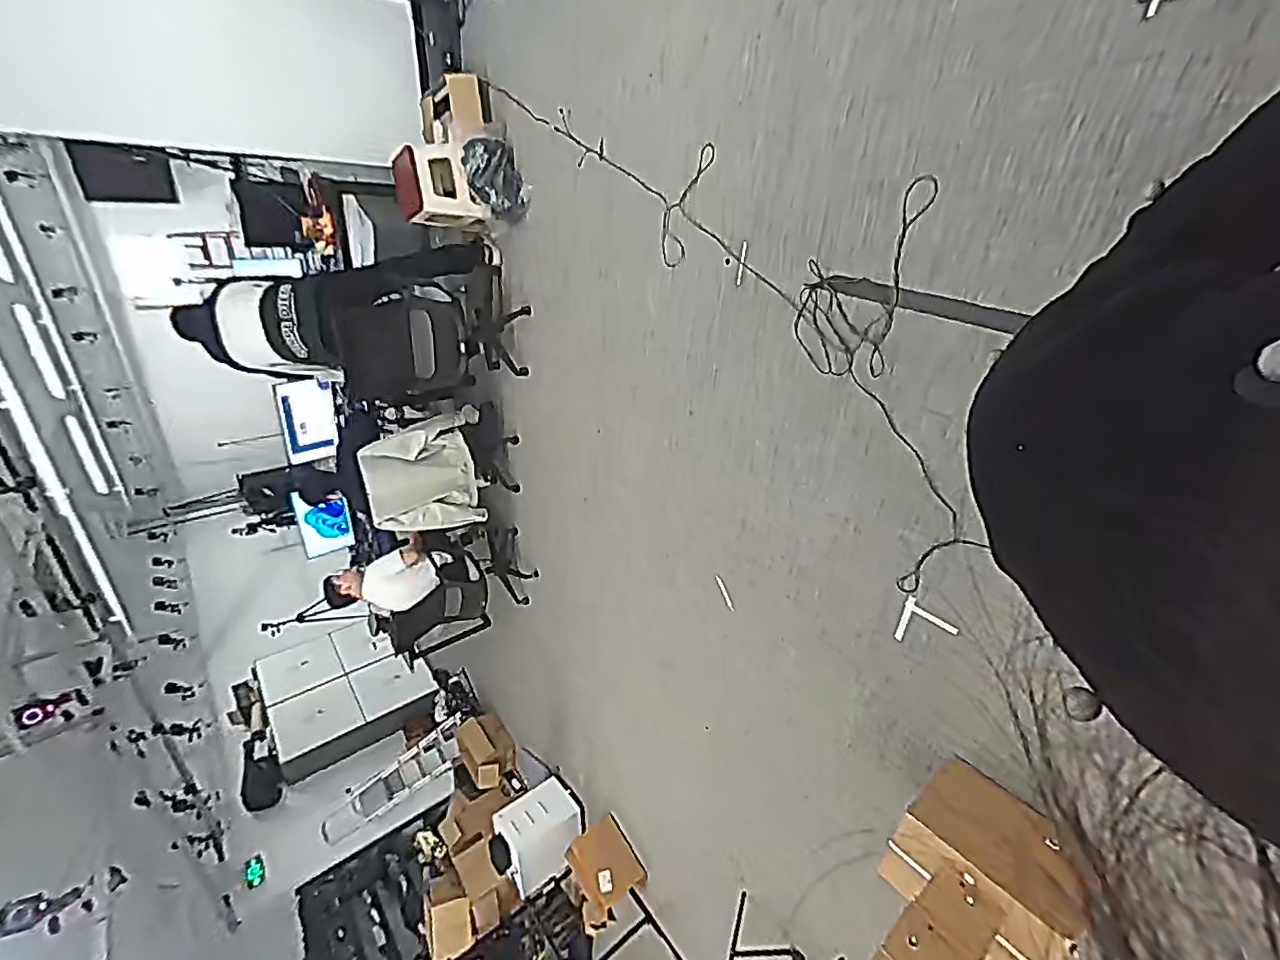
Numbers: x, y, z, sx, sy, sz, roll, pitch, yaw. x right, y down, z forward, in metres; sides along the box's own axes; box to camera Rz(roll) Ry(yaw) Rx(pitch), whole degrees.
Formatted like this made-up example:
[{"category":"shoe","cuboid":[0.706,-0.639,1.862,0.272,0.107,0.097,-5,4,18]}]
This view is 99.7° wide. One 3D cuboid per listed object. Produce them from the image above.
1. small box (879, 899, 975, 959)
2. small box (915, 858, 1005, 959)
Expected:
[{"category":"small box","cuboid":[0.680,1.175,1.303,0.168,0.176,0.179,30,128,44]},{"category":"small box","cuboid":[0.807,1.141,1.398,0.168,0.176,0.179,31,127,42]}]
